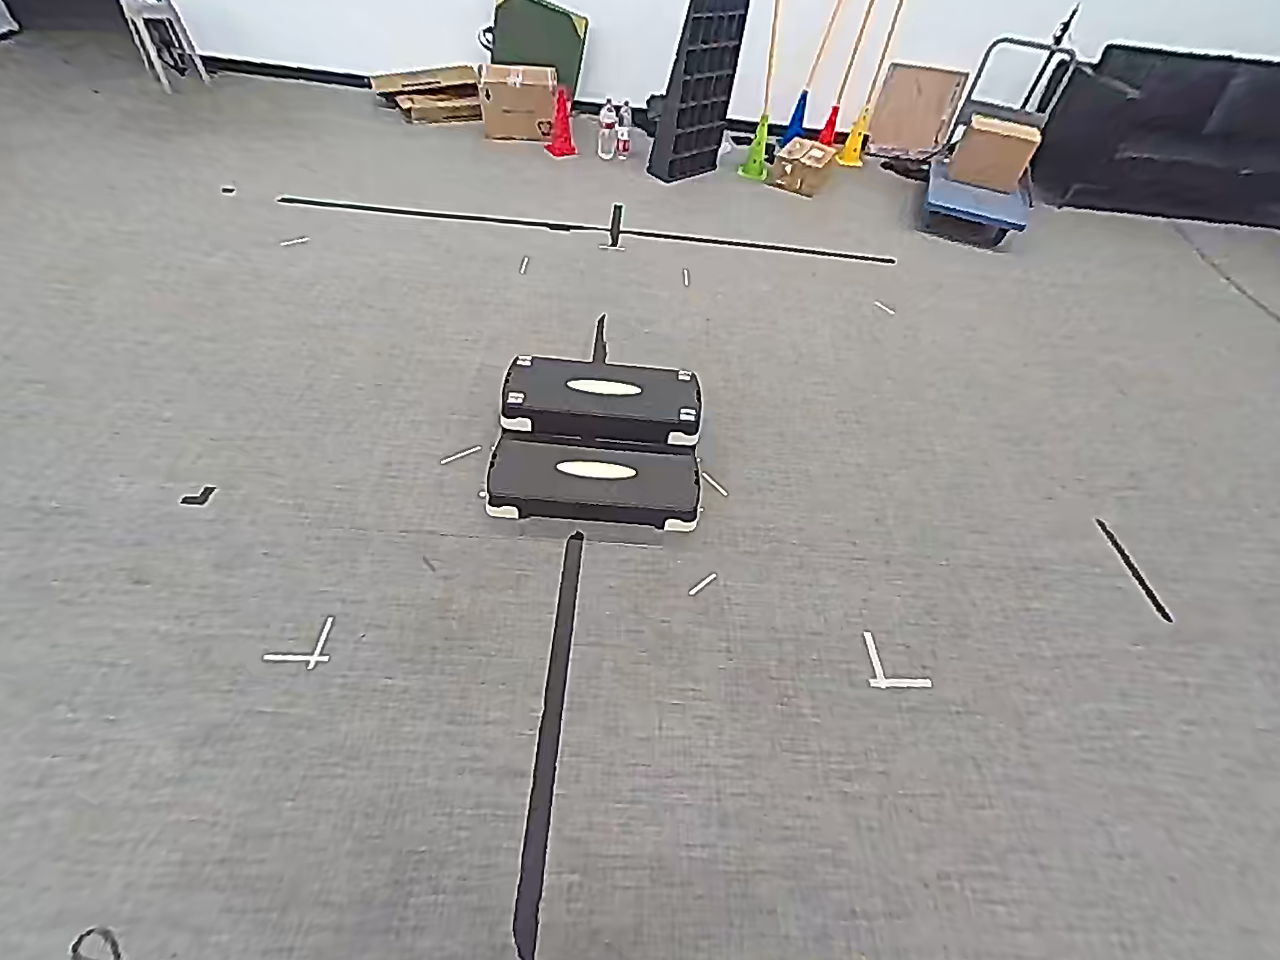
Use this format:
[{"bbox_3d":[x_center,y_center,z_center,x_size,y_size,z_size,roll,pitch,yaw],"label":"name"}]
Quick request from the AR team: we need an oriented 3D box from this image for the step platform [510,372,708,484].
[{"bbox_3d":[-0.103,-0.187,1.907,0.684,0.204,0.286,8,47,-1],"label":"step platform"}]
